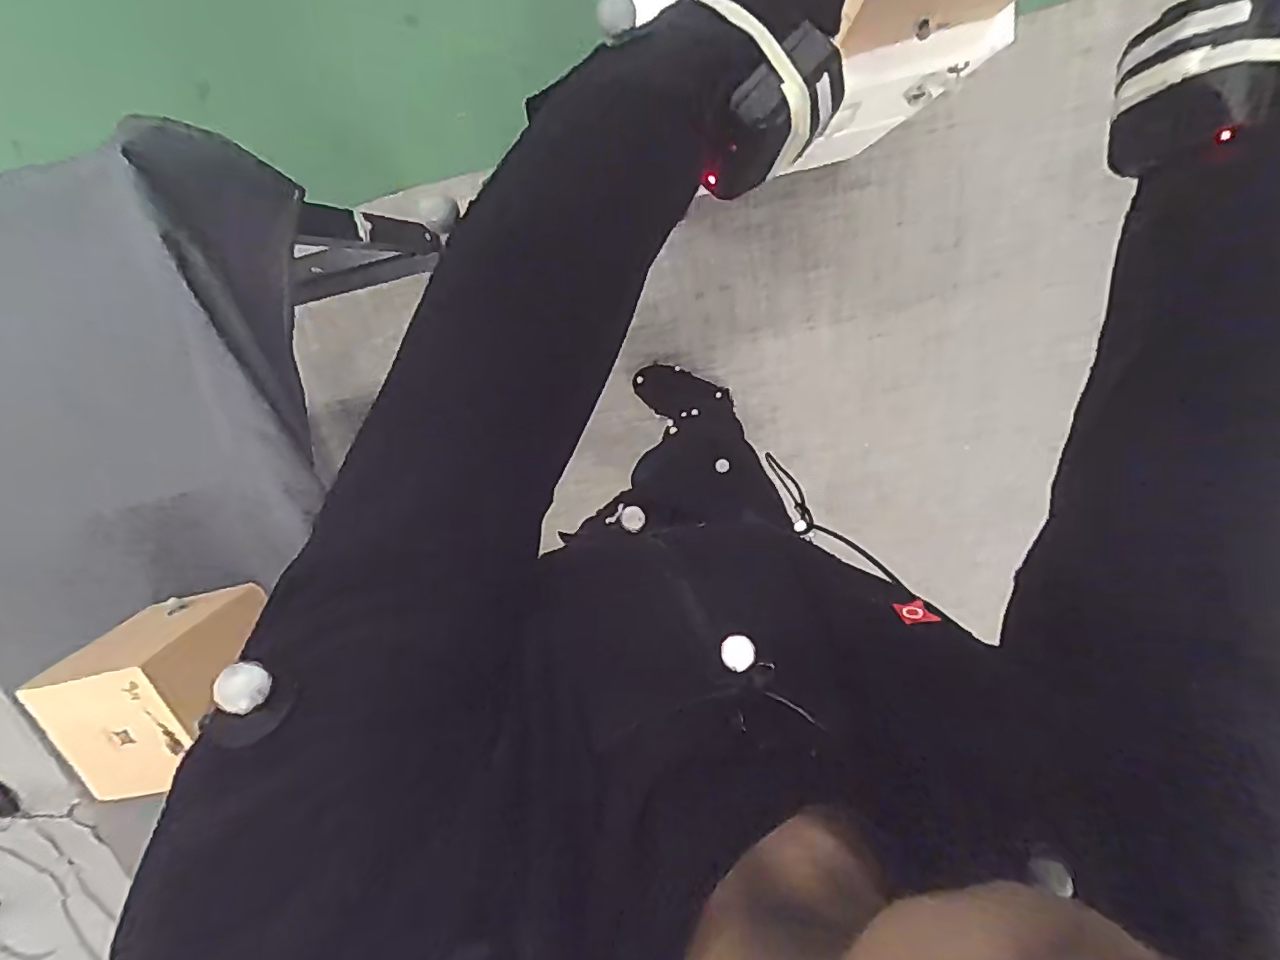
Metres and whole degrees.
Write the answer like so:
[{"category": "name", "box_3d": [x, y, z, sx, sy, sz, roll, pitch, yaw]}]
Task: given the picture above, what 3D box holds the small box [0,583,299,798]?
[{"category": "small box", "box_3d": [-0.571, 0.247, 0.657, 0.179, 0.176, 0.168, -13, 109, 10]}]
